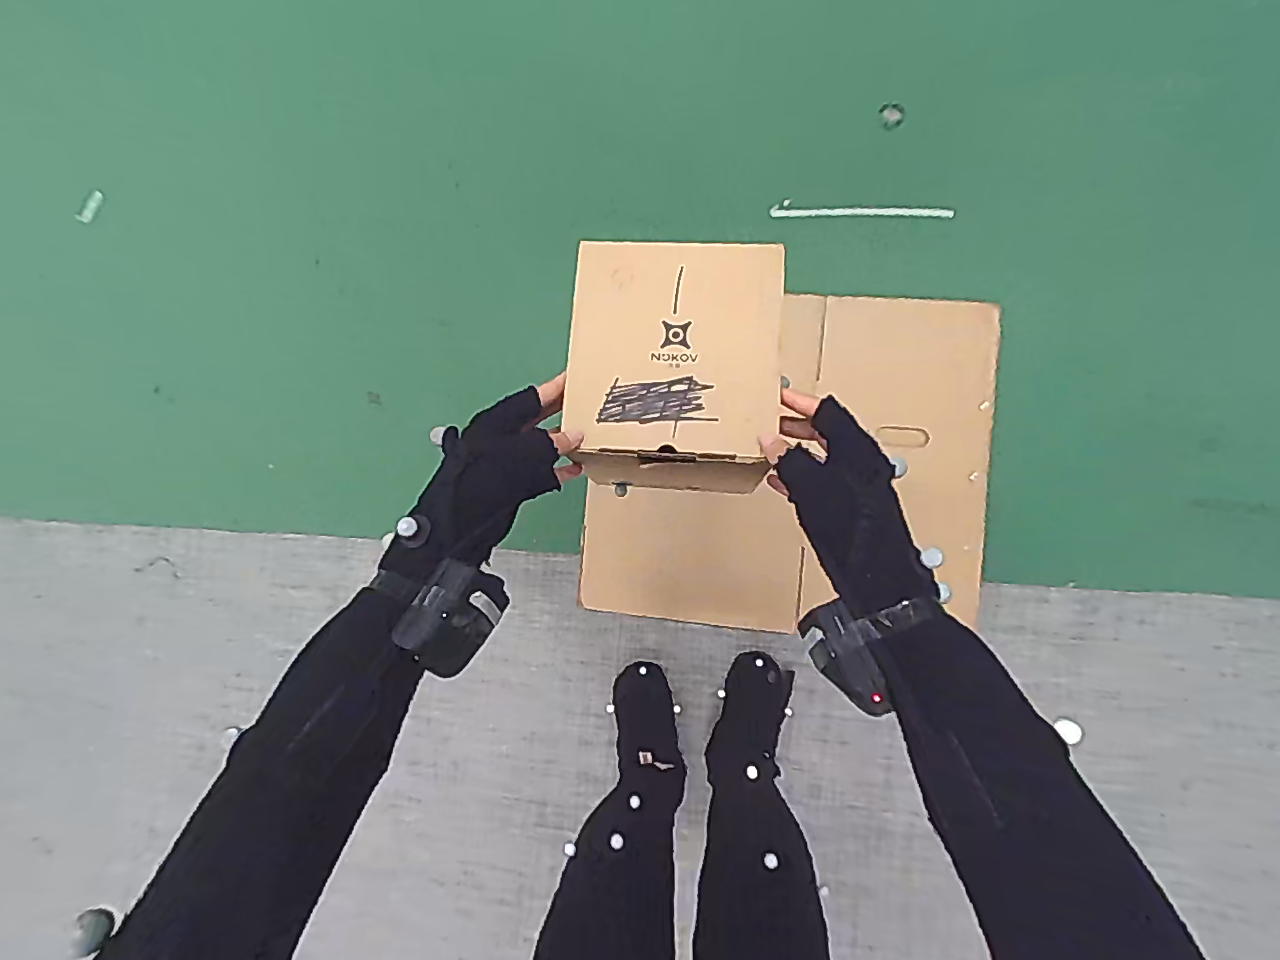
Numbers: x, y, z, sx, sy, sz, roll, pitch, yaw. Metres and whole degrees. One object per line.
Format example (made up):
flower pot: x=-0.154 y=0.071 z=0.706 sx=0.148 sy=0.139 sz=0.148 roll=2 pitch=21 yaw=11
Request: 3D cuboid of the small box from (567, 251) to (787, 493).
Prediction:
small box: x=0.038 y=-0.086 z=0.506 sx=0.168 sy=0.176 sz=0.179 roll=4 pitch=80 yaw=6
